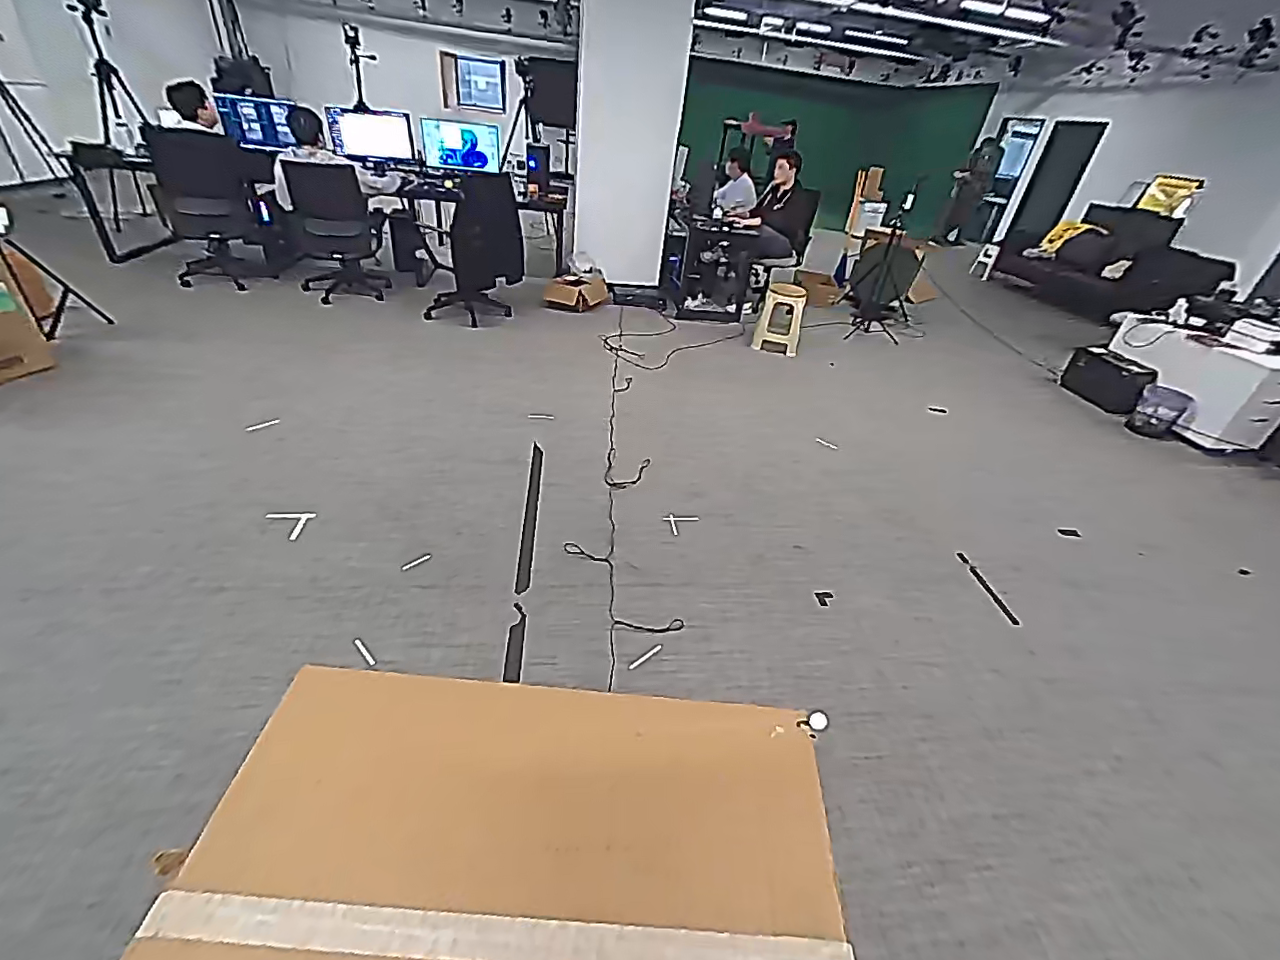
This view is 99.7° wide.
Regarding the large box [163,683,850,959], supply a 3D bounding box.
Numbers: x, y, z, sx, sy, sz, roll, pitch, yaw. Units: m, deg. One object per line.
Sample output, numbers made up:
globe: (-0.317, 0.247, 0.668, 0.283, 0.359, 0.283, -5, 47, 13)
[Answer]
large box: (-0.084, 0.390, 0.416, 0.408, 0.320, 0.320, 6, 41, -2)
